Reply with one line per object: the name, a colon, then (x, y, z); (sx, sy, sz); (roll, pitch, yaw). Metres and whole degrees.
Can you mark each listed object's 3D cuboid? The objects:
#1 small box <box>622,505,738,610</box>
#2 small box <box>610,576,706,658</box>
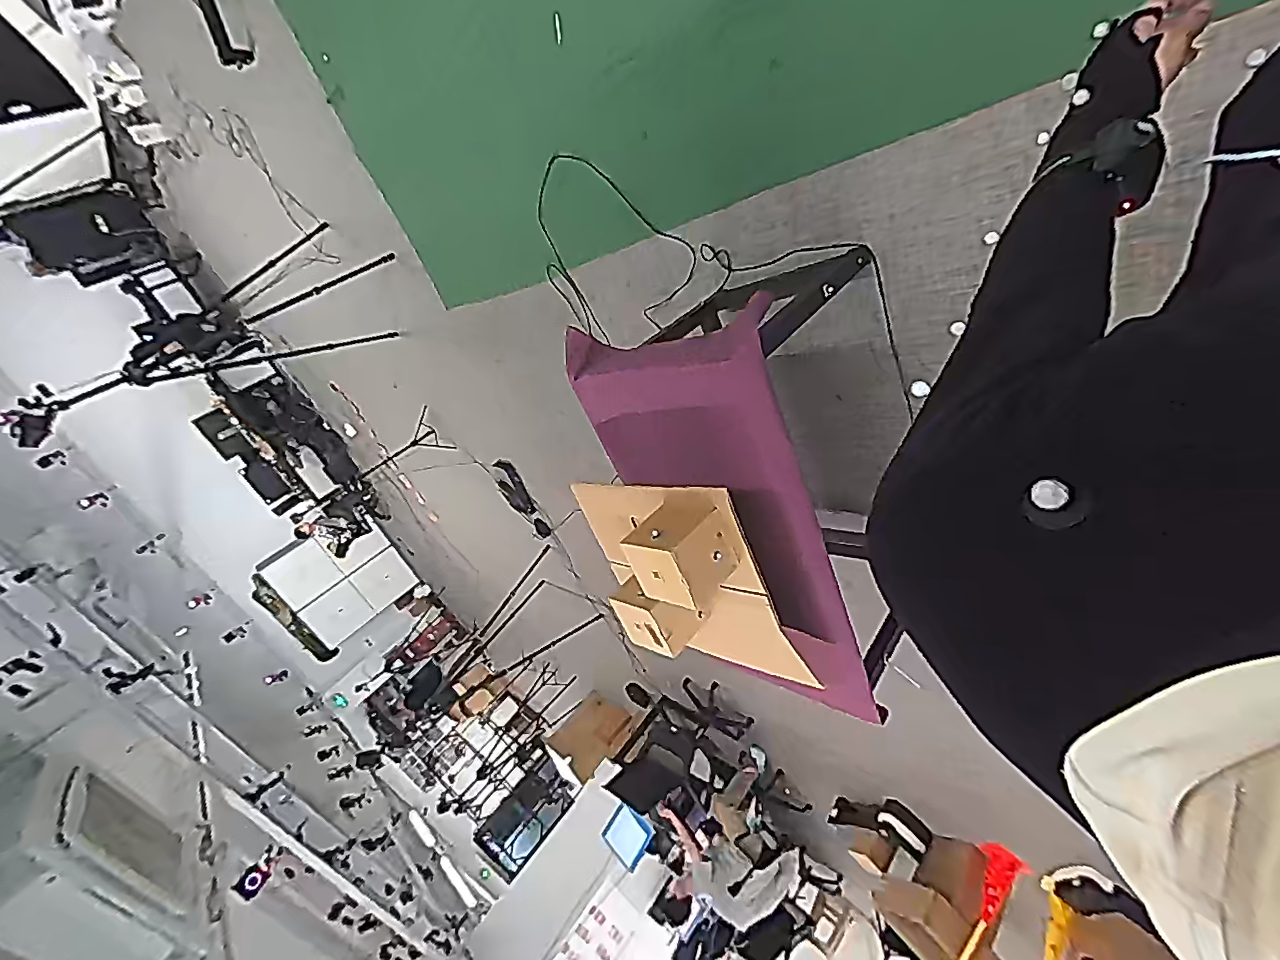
small box: (0.095, 0.170, 1.254); (0.179, 0.176, 0.168); (1, 123, 49)
small box: (0.058, 0.346, 1.469); (0.179, 0.176, 0.168); (2, 123, 50)
